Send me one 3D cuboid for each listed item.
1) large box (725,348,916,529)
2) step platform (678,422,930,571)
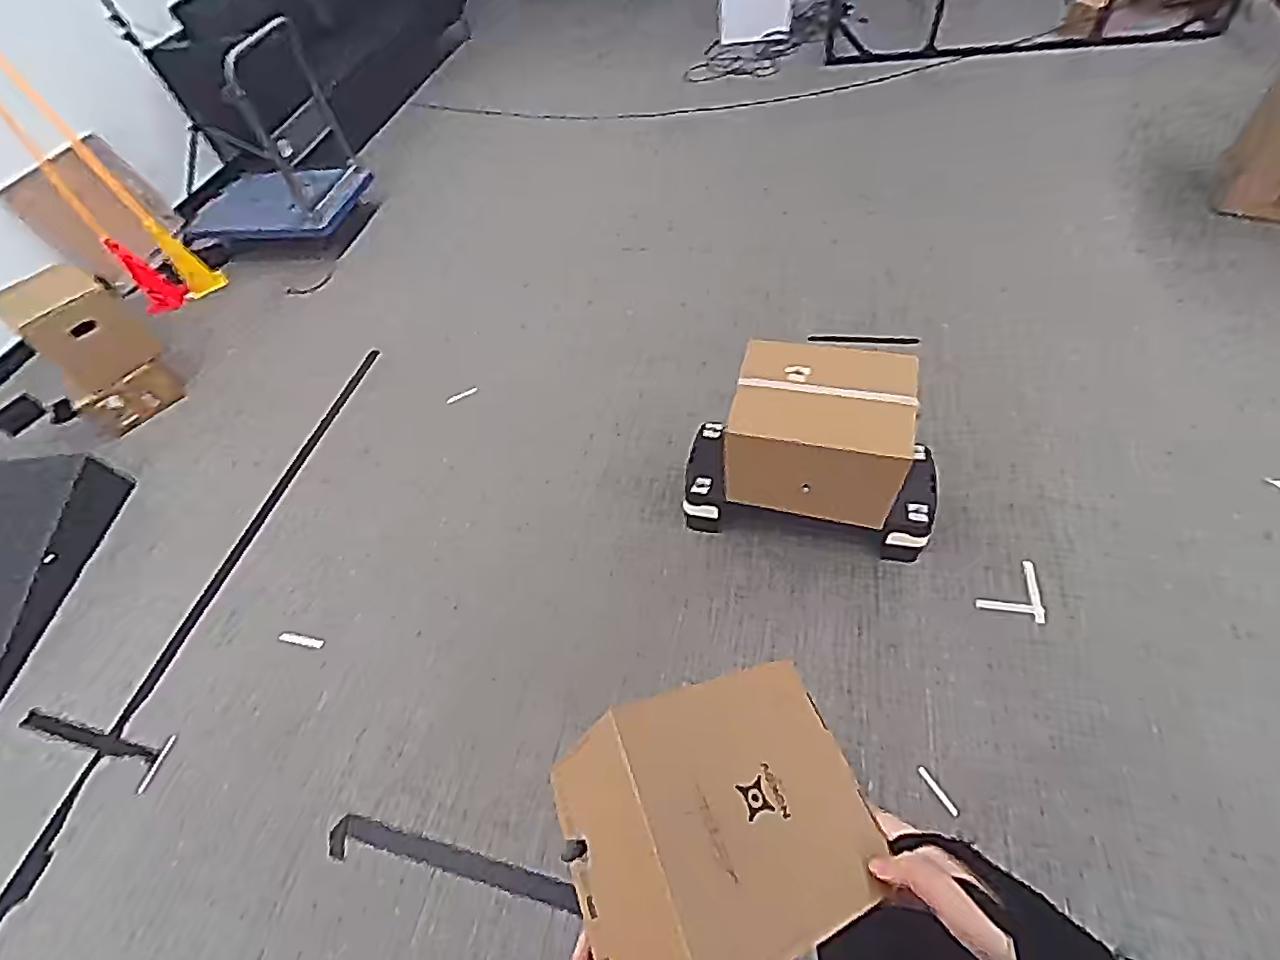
[{"bbox_3d":[0.448,-0.104,1.371,0.408,0.320,0.320,9,57,17],"label":"large box"},{"bbox_3d":[0.457,0.031,1.570,0.684,0.204,0.286,11,58,18],"label":"step platform"}]
